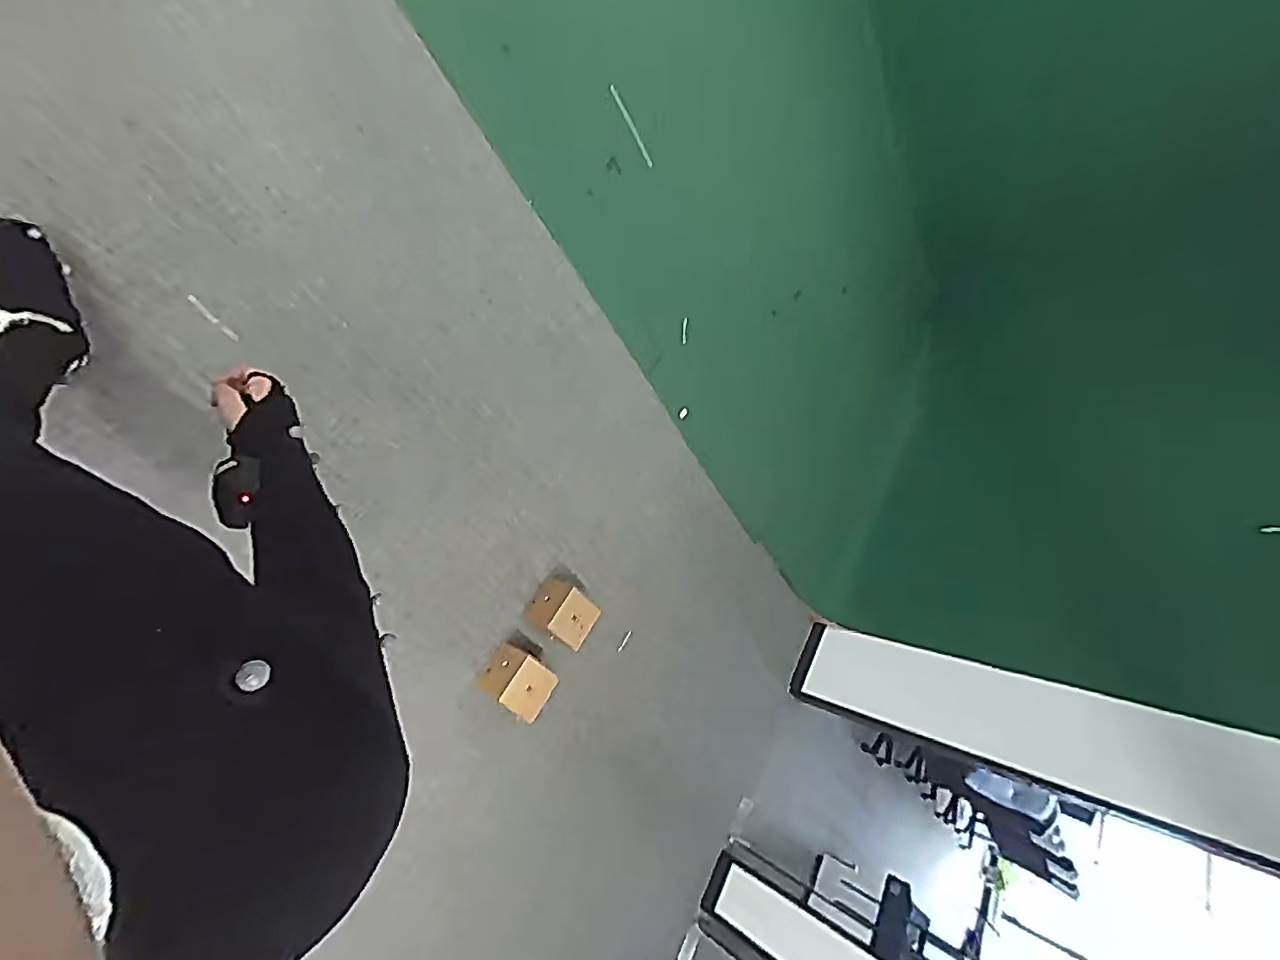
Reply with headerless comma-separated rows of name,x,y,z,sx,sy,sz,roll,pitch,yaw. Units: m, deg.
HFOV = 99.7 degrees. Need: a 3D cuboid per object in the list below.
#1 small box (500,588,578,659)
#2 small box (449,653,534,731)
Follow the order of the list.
small box,-0.364,0.503,1.926,0.168,0.176,0.179,-55,129,-27
small box,-0.500,0.701,1.807,0.168,0.176,0.179,-56,130,-27
